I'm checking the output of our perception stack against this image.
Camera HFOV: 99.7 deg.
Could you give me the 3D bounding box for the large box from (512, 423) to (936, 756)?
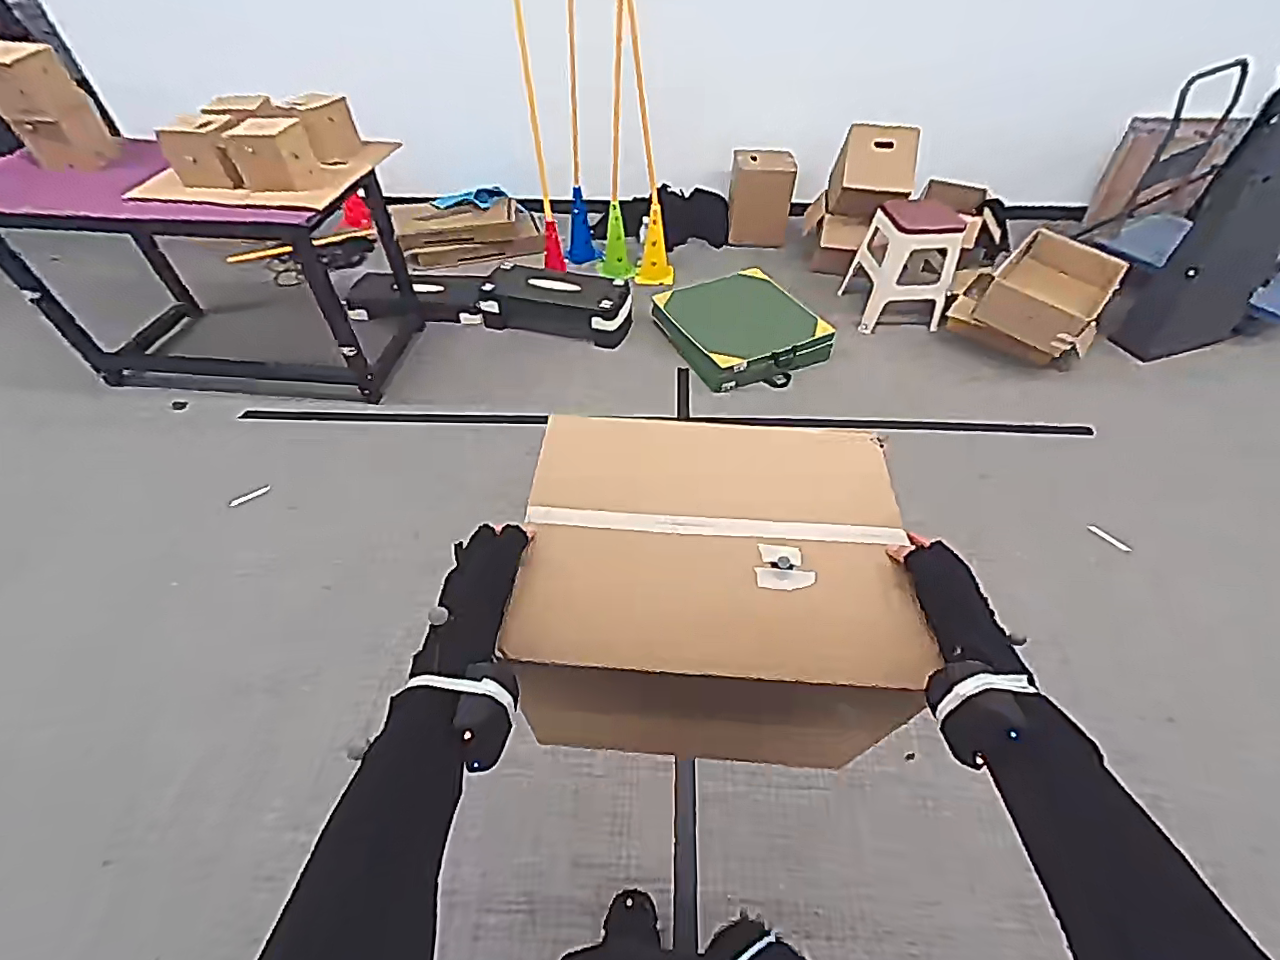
[{"bbox_3d":[0.081,0.150,0.707,0.408,0.320,0.320,4,53,2],"label":"large box"}]
